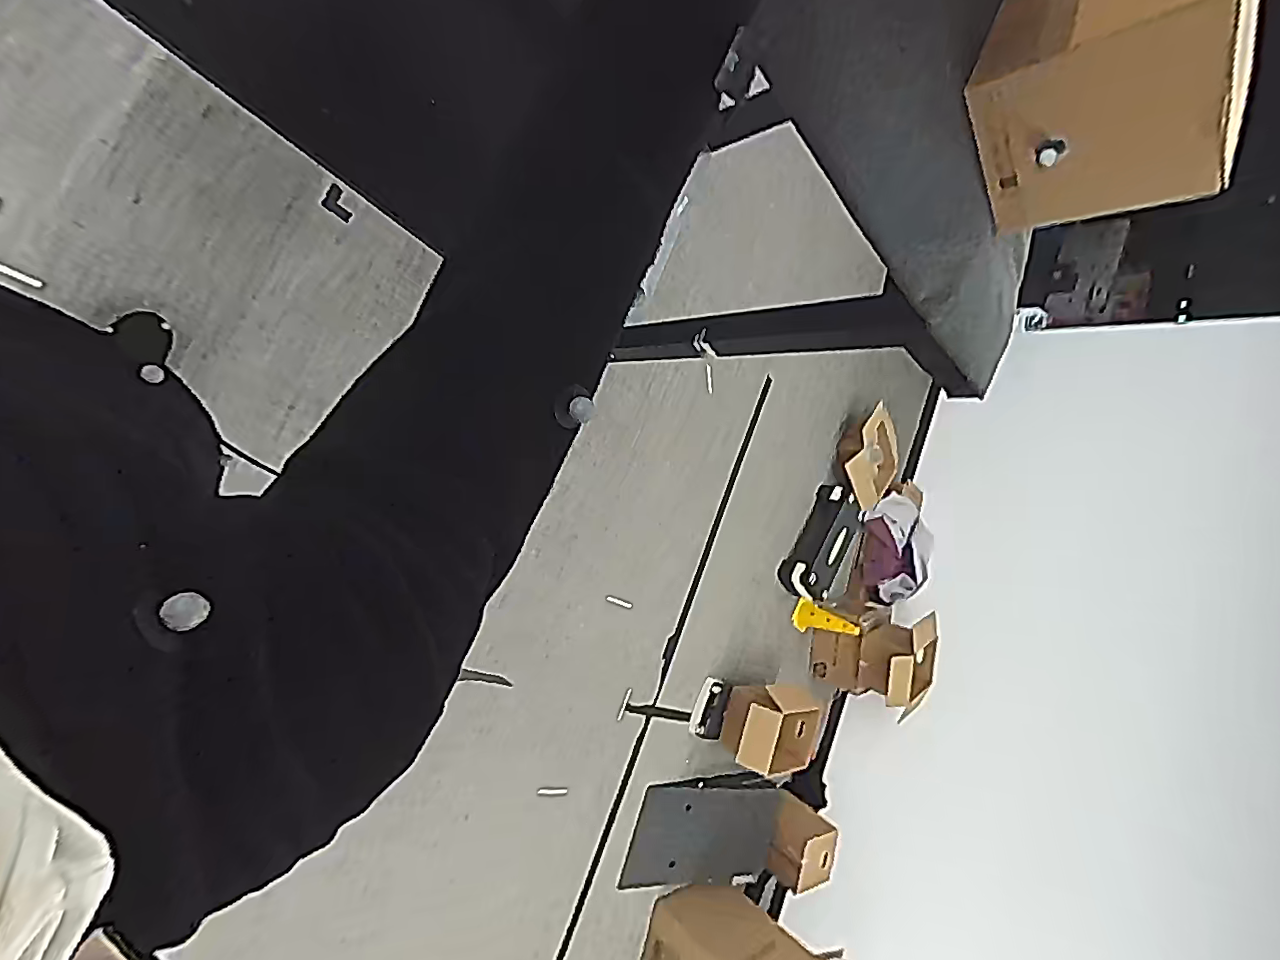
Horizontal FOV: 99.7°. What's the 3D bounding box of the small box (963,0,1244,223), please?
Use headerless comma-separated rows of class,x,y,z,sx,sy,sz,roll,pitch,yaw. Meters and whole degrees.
small box,0.421,-0.374,0.495,0.168,0.176,0.179,40,71,-39
